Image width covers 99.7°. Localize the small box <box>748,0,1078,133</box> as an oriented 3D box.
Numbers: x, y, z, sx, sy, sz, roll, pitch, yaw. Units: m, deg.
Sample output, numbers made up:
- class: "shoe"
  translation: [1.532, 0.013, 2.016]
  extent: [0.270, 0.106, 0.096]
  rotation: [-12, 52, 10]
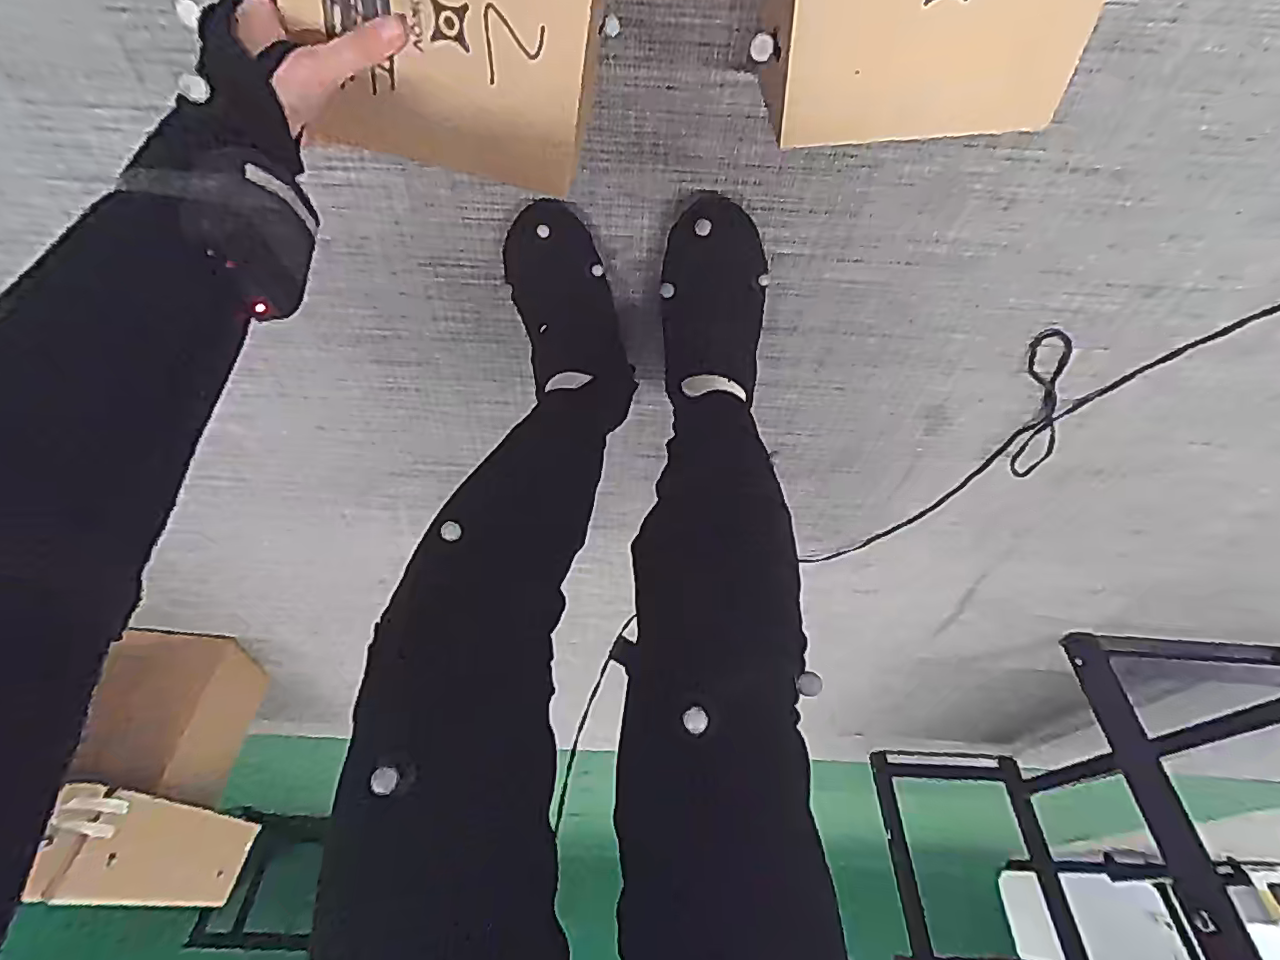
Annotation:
- class: "small box"
  translation: [0.159, -0.342, 0.328]
  extent: [0.168, 0.176, 0.179]
  rotation: [-1, 141, 5]
